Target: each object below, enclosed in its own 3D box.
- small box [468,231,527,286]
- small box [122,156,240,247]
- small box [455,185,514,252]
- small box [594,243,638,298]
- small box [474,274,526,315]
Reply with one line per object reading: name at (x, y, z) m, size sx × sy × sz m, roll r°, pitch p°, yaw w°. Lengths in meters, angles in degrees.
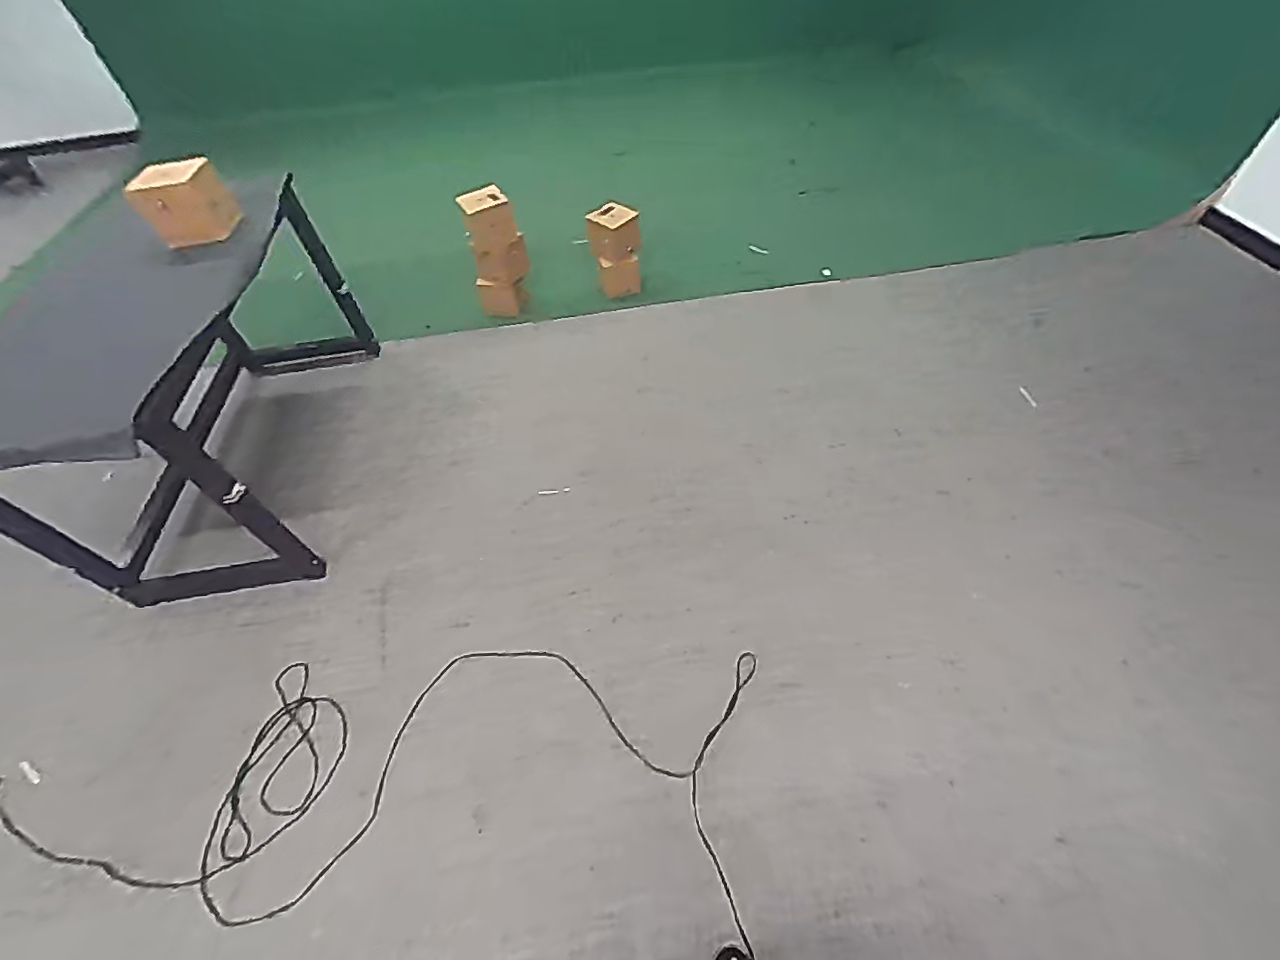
small box at (-0.615, -0.979, 2.363) m, size 0.168 × 0.176 × 0.179 m, roll 23°, pitch 57°, yaw 19°
small box at (-1.311, -0.803, 1.564) m, size 0.179 × 0.176 × 0.168 m, roll -9°, pitch 52°, yaw -1°
small box at (-0.634, -1.078, 2.233) m, size 0.179 × 0.176 × 0.168 m, roll -27°, pitch 56°, yaw -15°
small box at (-0.112, -0.978, 2.530) m, size 0.168 × 0.176 × 0.179 m, roll -15°, pitch 52°, yaw -8°
small box at (-0.638, -0.881, 2.494) m, size 0.168 × 0.176 × 0.179 m, roll 5°, pitch 53°, yaw 7°
